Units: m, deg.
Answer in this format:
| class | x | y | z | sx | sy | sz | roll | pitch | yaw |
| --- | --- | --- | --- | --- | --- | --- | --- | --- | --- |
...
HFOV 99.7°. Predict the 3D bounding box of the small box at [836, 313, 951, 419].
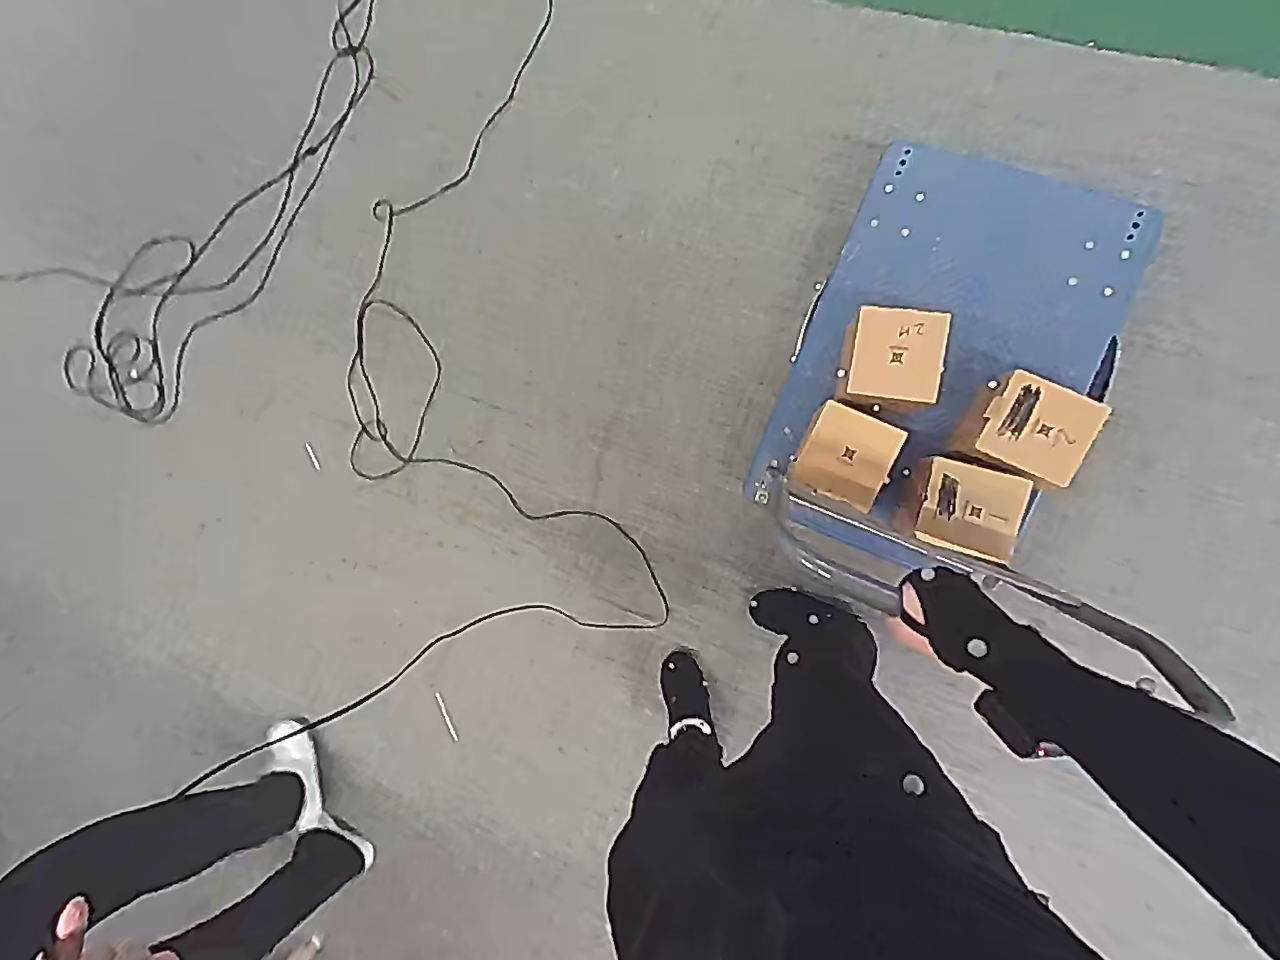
| class | x | y | z | sx | sy | sz | roll | pitch | yaw |
| --- | --- | --- | --- | --- | --- | --- | --- | --- | --- |
| small box | 0.513 | -0.227 | 1.120 | 0.168 | 0.176 | 0.179 | 10 | 91 | 10 |
